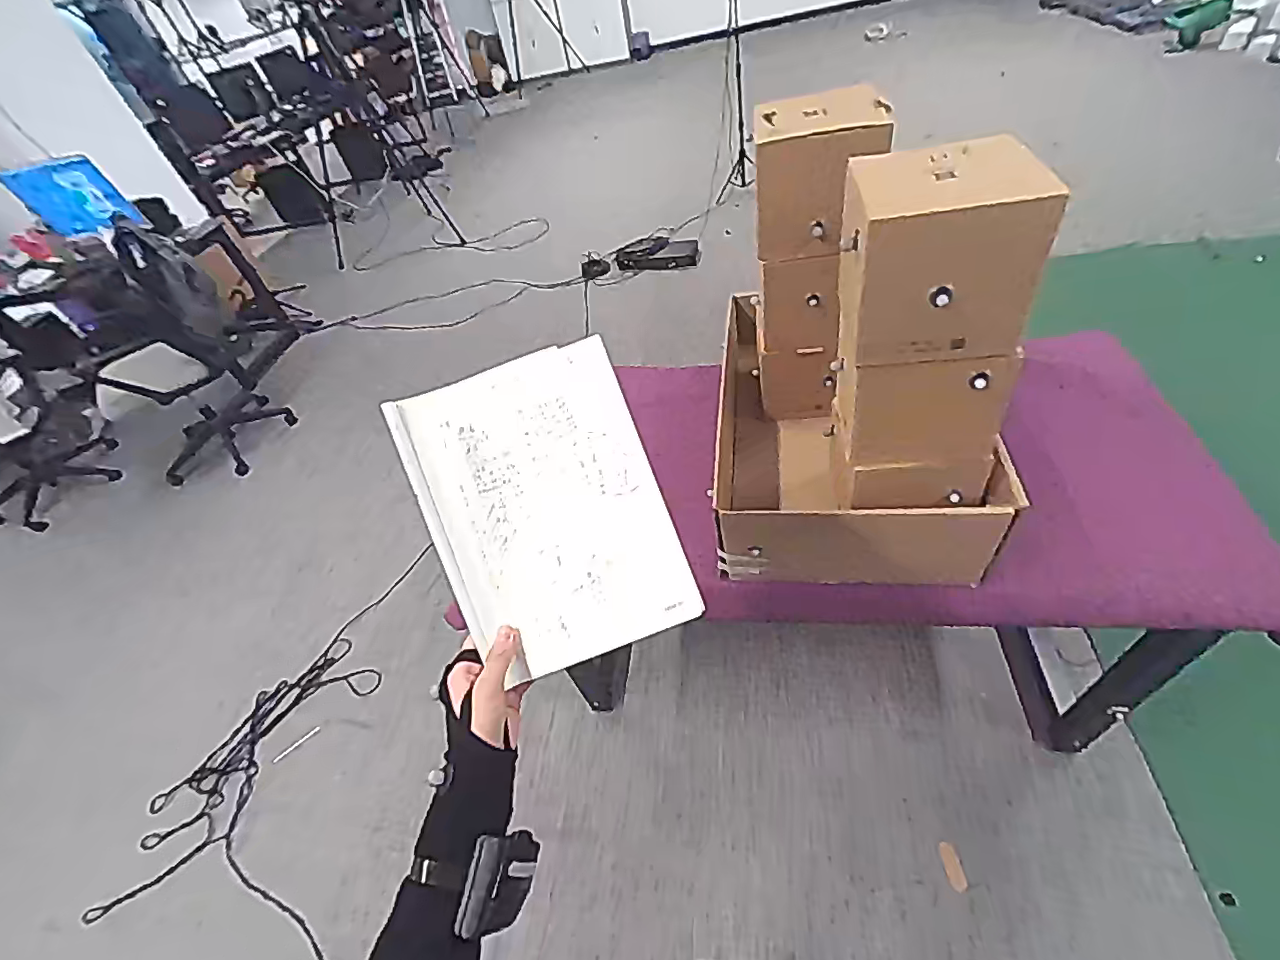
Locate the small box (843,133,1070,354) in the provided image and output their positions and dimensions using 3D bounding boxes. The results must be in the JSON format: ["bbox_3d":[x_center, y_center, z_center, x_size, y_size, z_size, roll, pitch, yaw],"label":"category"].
[{"bbox_3d":[0.324,-0.252,0.599,0.168,0.176,0.179,-1,46,13],"label":"small box"}]

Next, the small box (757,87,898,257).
[{"bbox_3d":[0.266,-0.457,0.812,0.179,0.176,0.168,-1,48,12],"label":"small box"}]

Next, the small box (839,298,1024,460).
[{"bbox_3d":[0.361,-0.139,0.713,0.179,0.176,0.168,-1,46,14],"label":"small box"}]

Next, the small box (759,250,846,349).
[{"bbox_3d":[0.298,-0.345,0.929,0.179,0.176,0.168,-3,48,11],"label":"small box"}]
